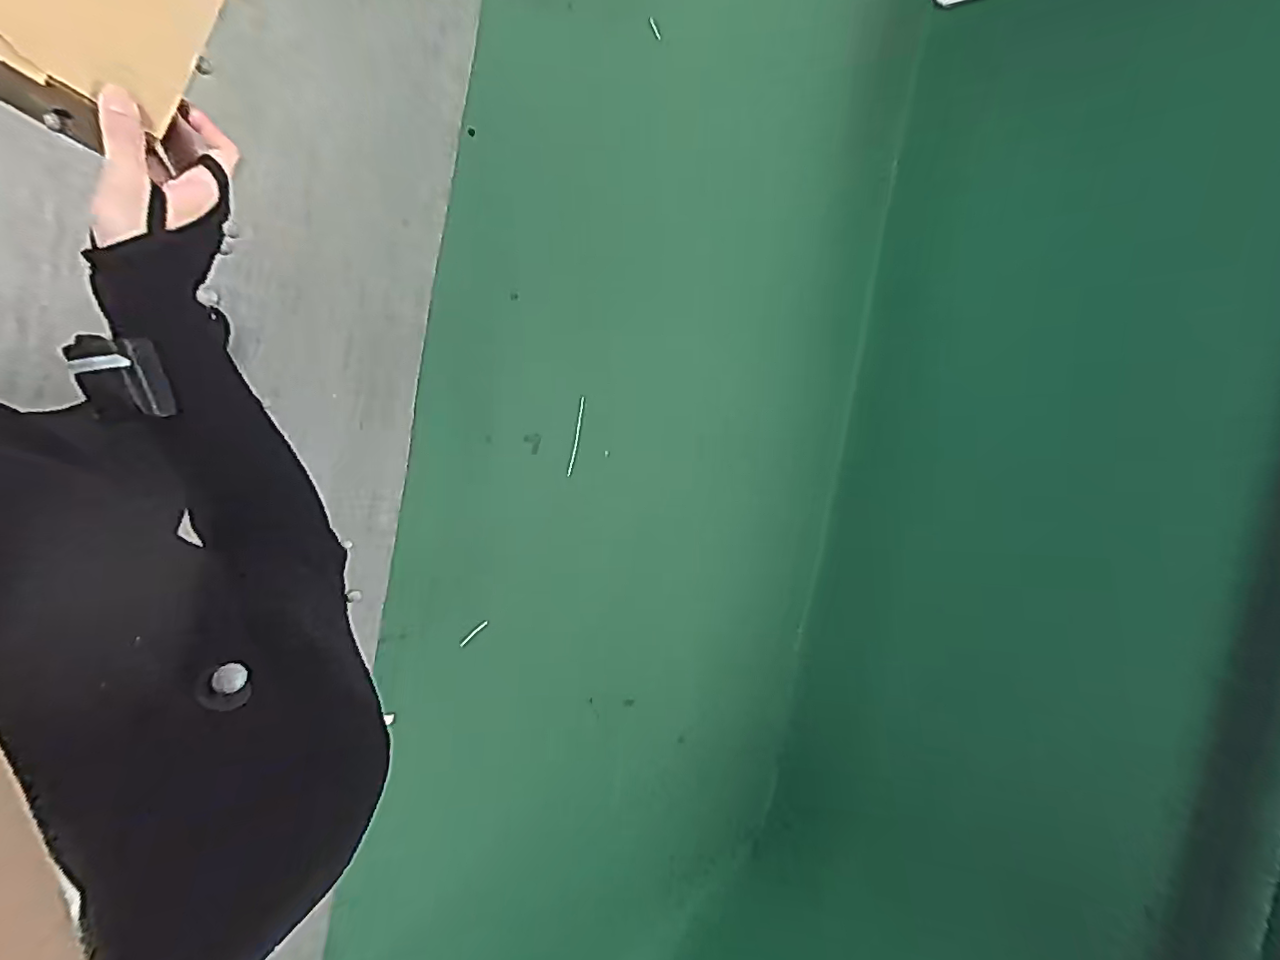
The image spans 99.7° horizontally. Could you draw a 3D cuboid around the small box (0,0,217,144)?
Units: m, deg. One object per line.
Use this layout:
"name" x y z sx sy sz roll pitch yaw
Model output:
"small box" -0.422 -0.371 0.377 0.168 0.176 0.179 25 85 -54
